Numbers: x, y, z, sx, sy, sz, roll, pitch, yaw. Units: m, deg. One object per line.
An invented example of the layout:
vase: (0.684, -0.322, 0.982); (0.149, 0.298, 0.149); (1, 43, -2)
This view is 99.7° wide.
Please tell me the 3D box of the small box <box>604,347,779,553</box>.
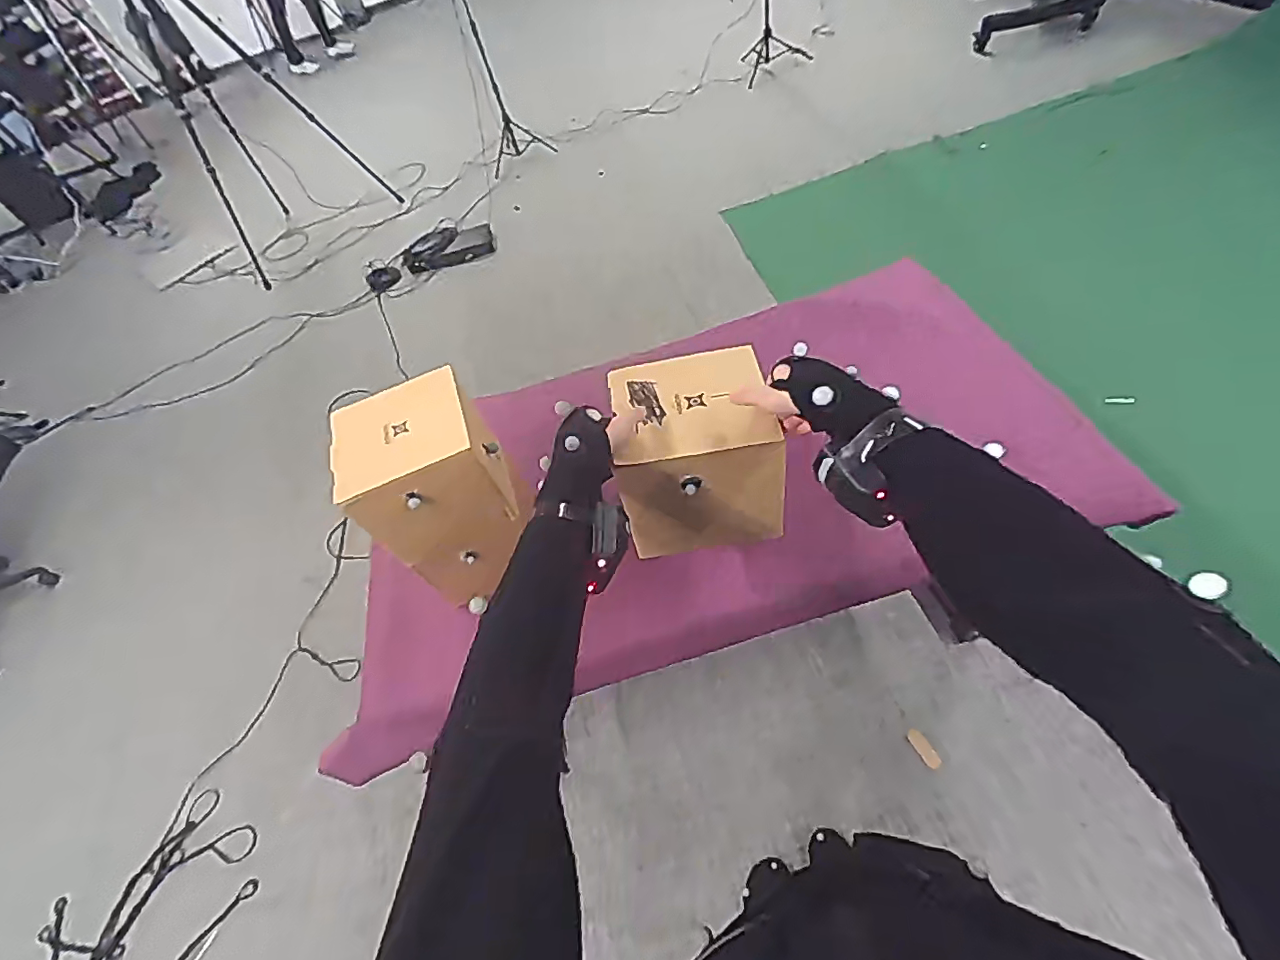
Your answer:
small box: (0.060, -0.030, 0.640); (0.179, 0.176, 0.168); (-9, 47, 4)

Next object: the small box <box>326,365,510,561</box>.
small box: (-0.294, -0.018, 0.742); (0.179, 0.176, 0.168); (-24, 54, -3)

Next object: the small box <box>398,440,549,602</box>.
small box: (-0.269, 0.072, 0.874); (0.179, 0.176, 0.168); (-22, 54, -3)
